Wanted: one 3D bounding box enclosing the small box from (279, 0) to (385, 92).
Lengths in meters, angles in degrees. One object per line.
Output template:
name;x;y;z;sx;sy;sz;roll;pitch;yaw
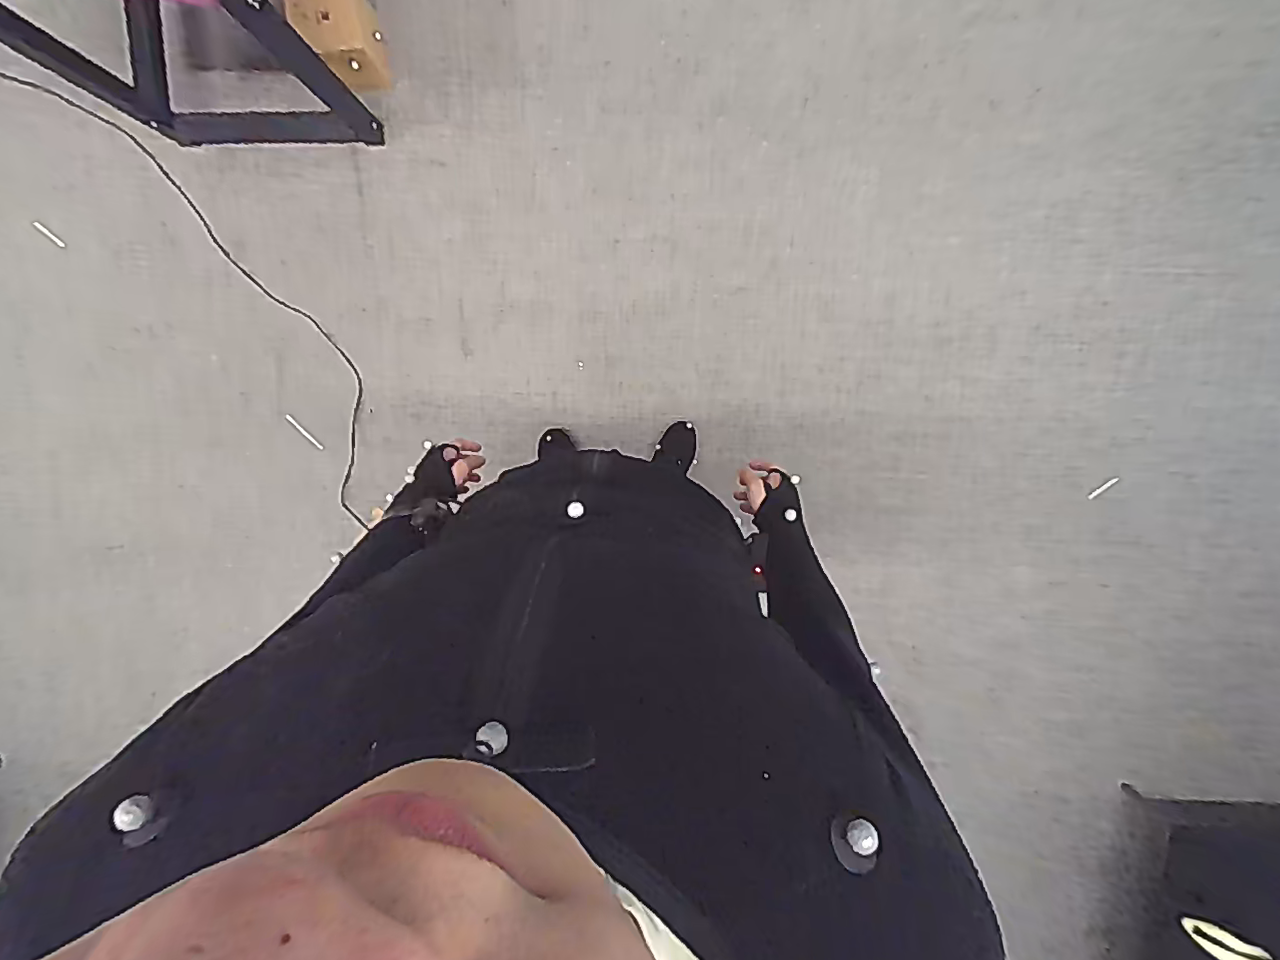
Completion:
small box;-0.775;-1.133;1.379;0.179;0.176;0.168;-8;98;1
